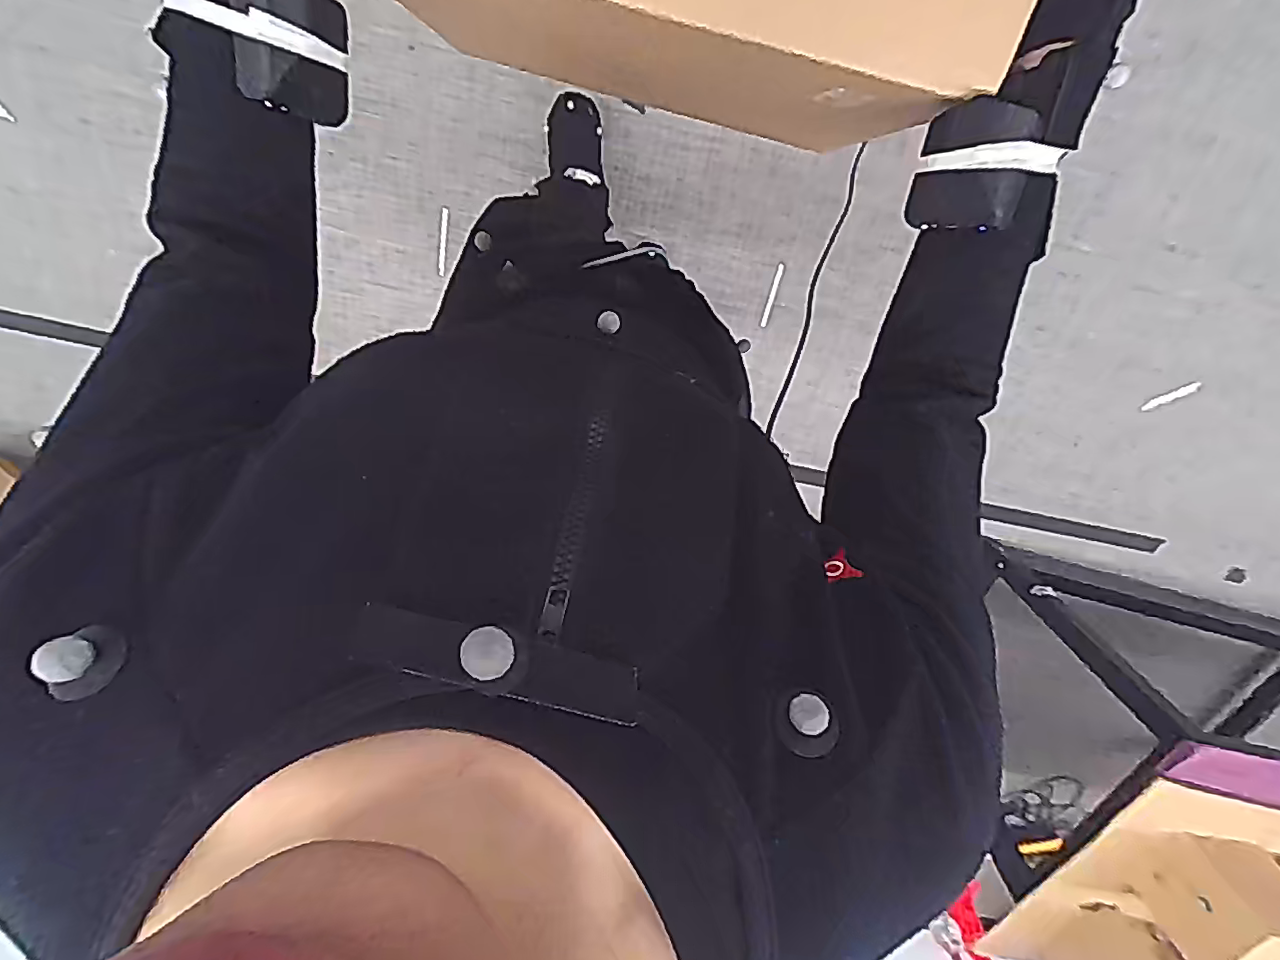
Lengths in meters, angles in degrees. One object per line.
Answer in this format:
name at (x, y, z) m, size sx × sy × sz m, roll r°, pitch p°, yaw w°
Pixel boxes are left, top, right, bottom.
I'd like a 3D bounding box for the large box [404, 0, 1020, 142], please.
large box at (0.041, -0.466, 0.371) m, size 0.408 × 0.320 × 0.320 m, roll 11°, pitch 118°, yaw -6°
